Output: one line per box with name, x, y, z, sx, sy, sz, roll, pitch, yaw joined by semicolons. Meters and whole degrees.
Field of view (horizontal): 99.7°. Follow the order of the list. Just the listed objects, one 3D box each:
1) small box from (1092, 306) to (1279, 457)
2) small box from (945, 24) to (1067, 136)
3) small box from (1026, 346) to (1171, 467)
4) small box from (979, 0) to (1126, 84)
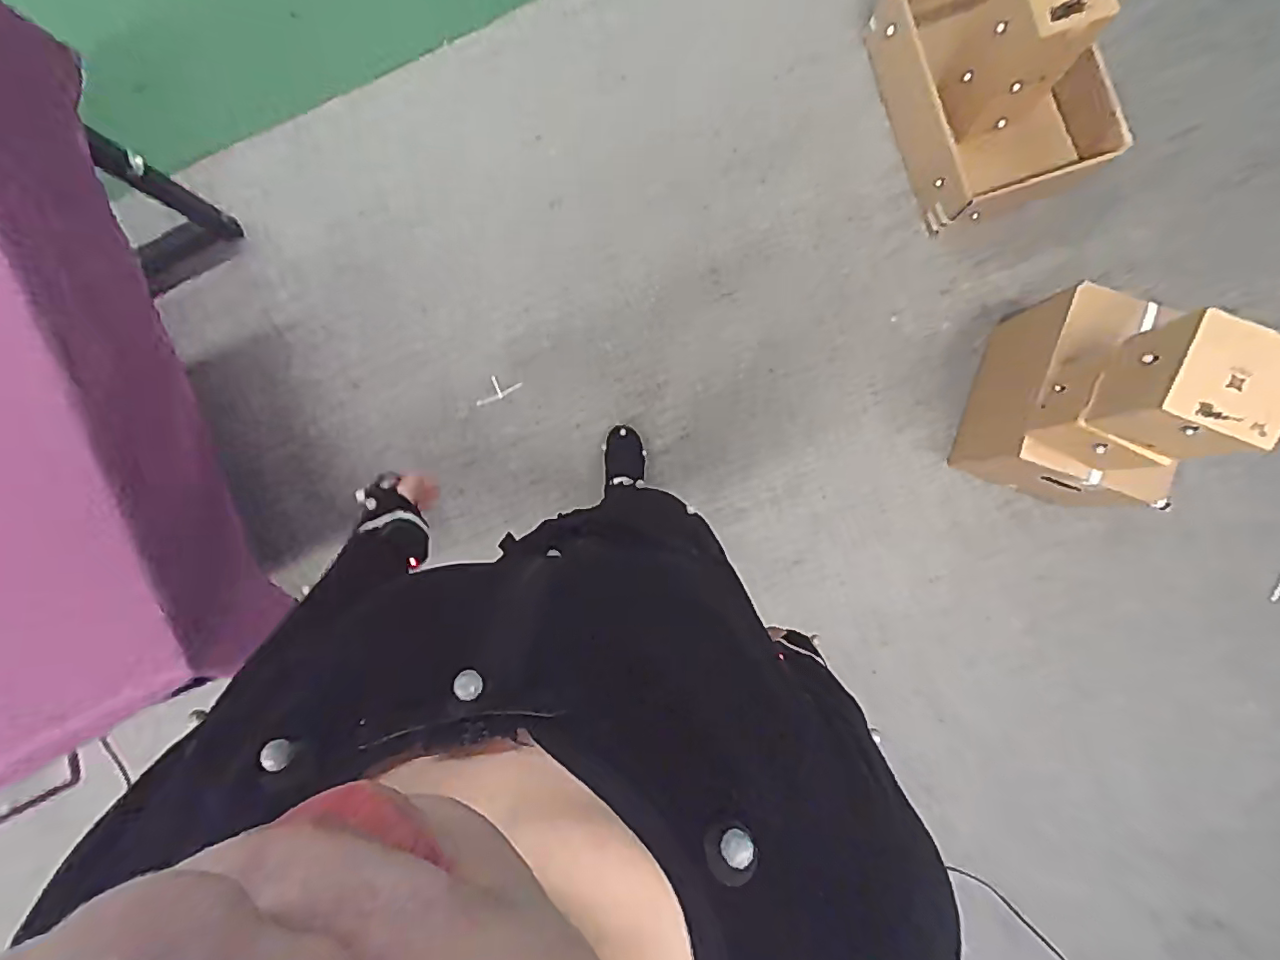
small box;0.913;-0.152;0.898;0.168;0.176;0.179;25;90;7
small box;0.892;-1.004;1.338;0.168;0.176;0.179;-17;88;3
small box;0.923;-0.135;1.061;0.179;0.176;0.168;29;91;6
small box;0.881;-1.008;1.173;0.168;0.176;0.179;-16;87;3
